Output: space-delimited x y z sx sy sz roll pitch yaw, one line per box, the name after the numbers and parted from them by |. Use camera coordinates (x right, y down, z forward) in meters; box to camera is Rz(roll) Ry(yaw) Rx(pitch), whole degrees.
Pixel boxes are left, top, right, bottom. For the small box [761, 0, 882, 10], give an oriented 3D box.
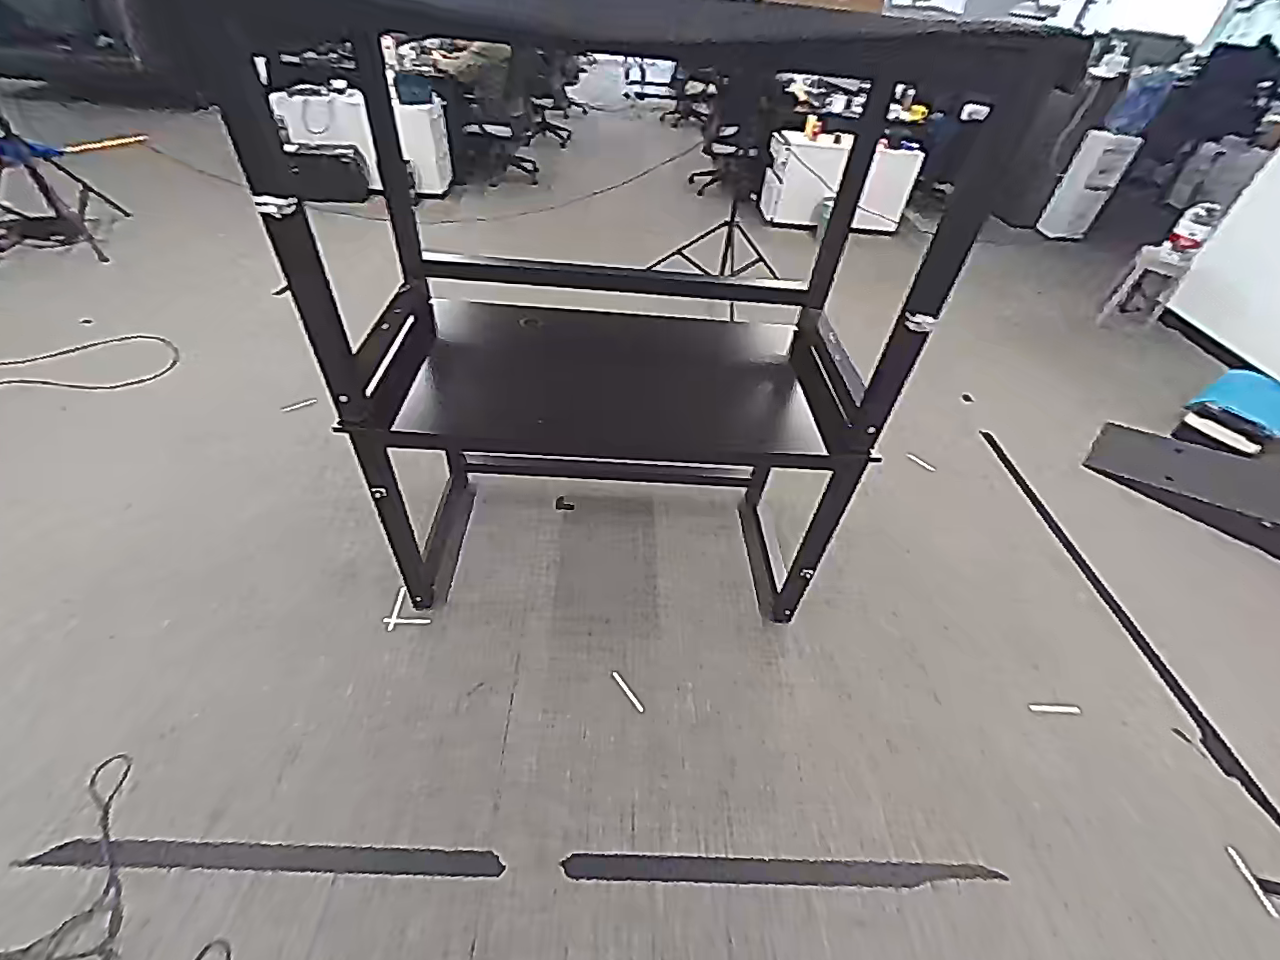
0.256 -0.756 0.733 0.168 0.176 0.179 6 42 0 | small box
